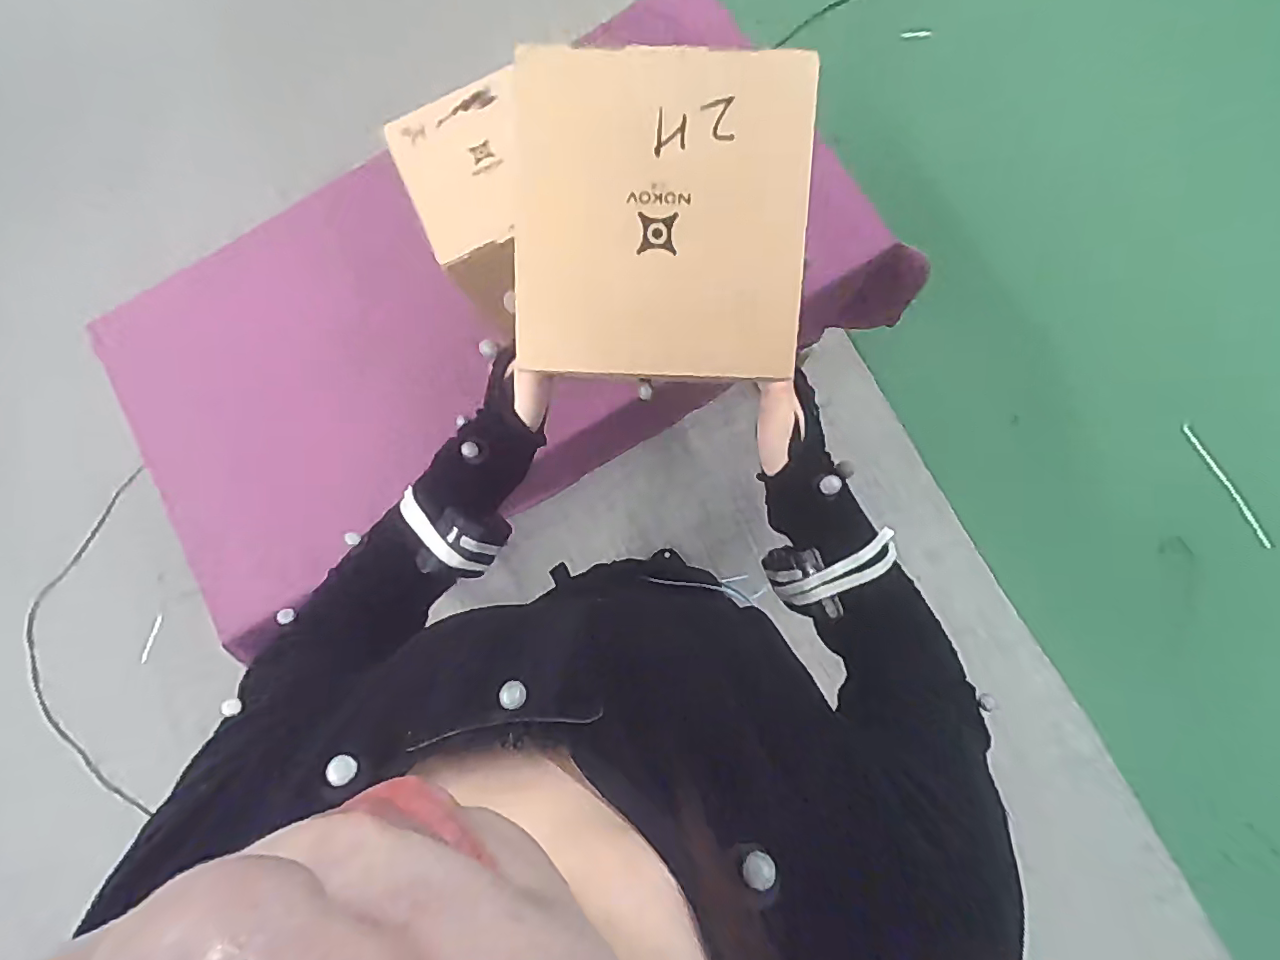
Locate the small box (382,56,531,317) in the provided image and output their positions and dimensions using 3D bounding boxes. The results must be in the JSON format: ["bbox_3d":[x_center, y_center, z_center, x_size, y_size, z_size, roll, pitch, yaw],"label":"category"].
[{"bbox_3d":[-0.150,-0.310,0.616,0.168,0.176,0.179,-24,82,1],"label":"small box"}]

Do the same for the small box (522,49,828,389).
[{"bbox_3d":[0.018,-0.159,0.388,0.168,0.176,0.179,4,100,1],"label":"small box"}]
